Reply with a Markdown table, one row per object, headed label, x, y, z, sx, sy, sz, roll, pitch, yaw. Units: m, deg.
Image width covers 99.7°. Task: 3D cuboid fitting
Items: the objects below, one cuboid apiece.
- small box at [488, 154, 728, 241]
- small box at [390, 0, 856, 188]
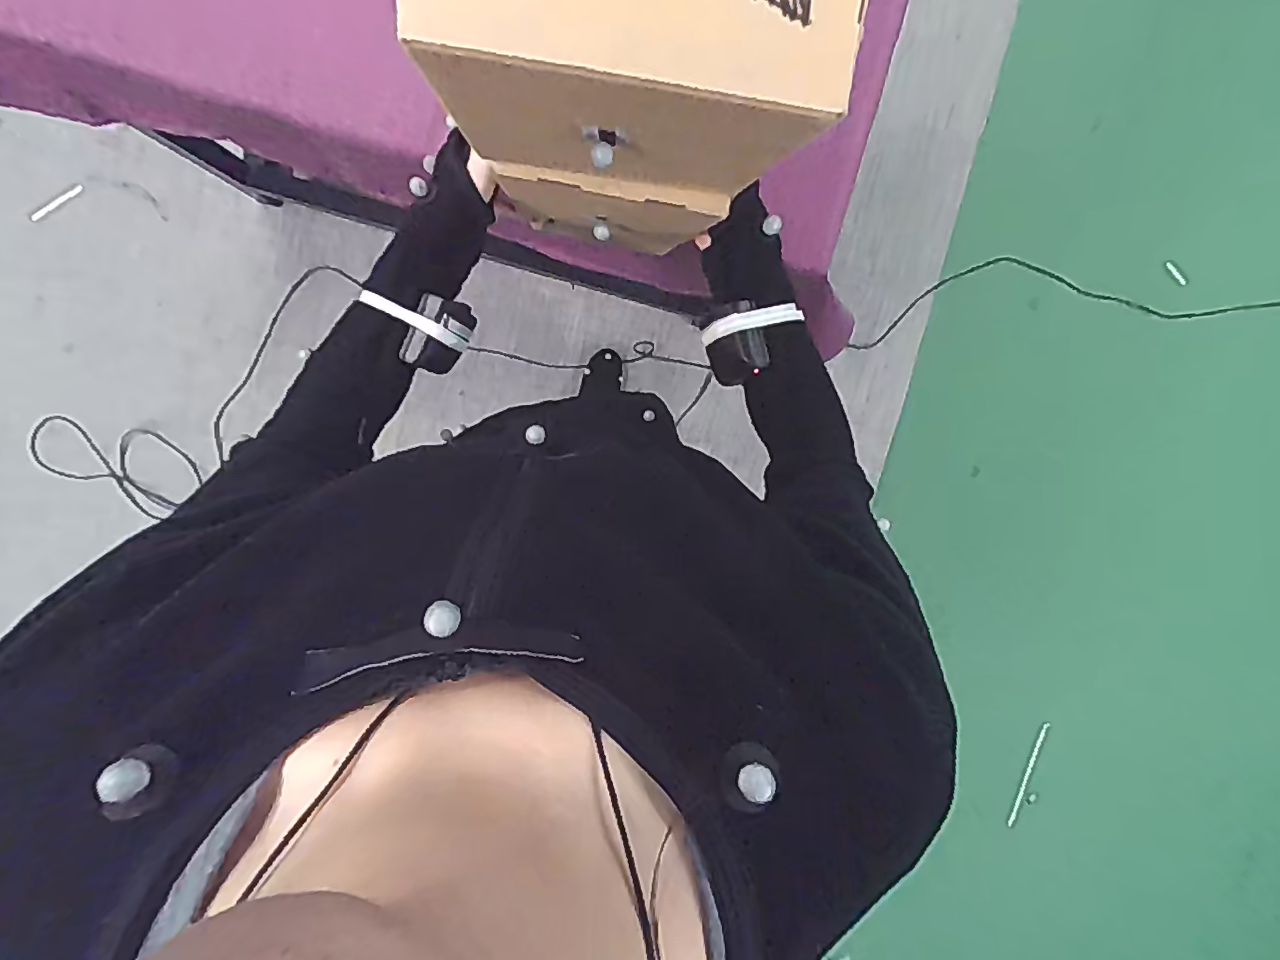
| label | x | y | z | sx | sy | sz | roll | pitch | yaw |
| --- | --- | --- | --- | --- | --- | --- | --- | --- | --- |
| small box | -0.016 | -0.302 | 0.419 | 0.168 | 0.176 | 0.179 | 7 | 107 | -8 |
| small box | -0.005 | -0.256 | 0.262 | 0.179 | 0.176 | 0.168 | 5 | 107 | -7 |
